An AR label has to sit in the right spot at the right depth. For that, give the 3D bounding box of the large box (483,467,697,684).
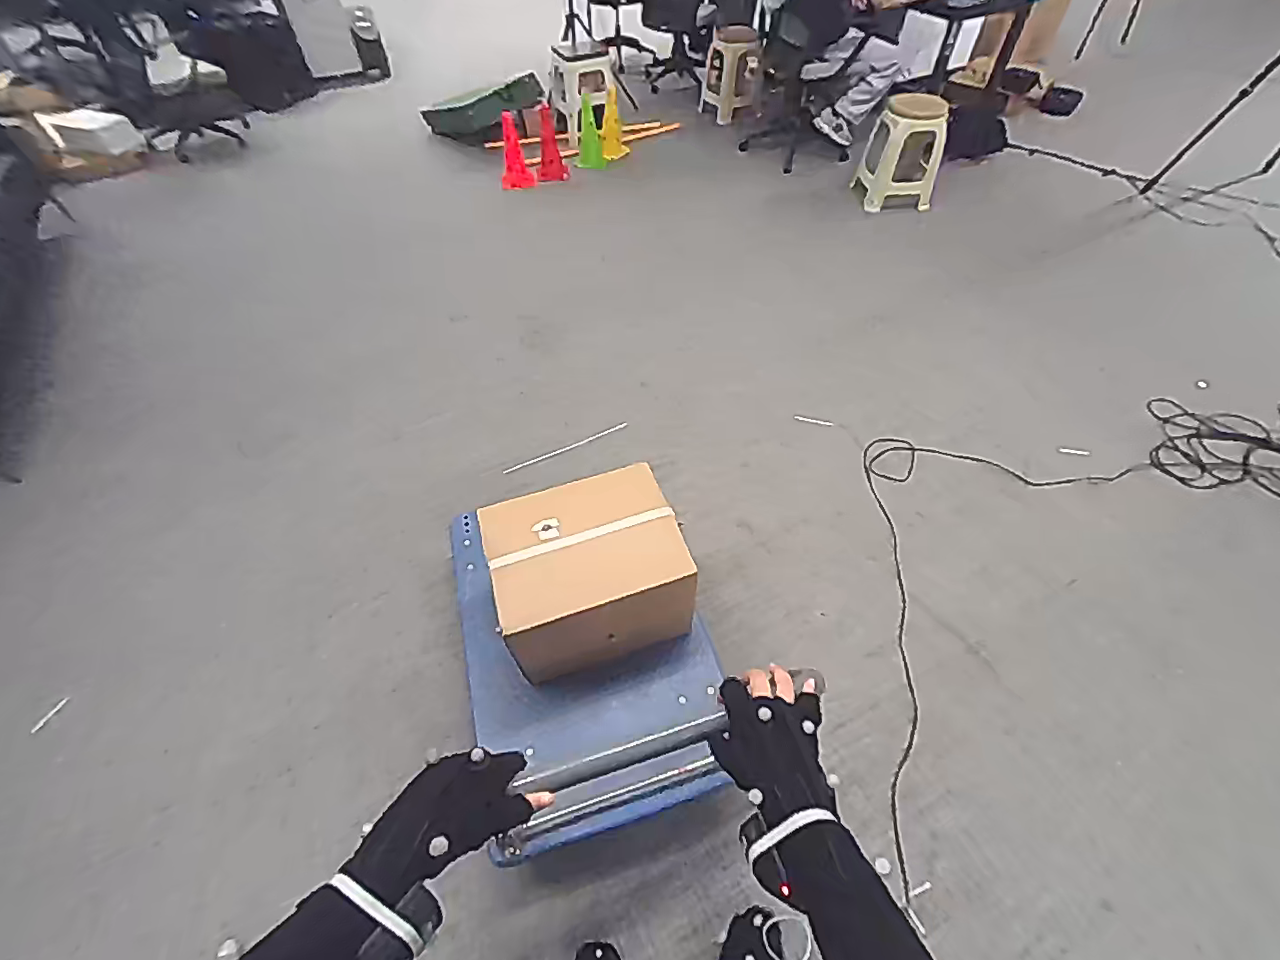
[{"bbox_3d":[-0.110,0.229,1.278,0.408,0.320,0.320,-17,53,-10],"label":"large box"}]
